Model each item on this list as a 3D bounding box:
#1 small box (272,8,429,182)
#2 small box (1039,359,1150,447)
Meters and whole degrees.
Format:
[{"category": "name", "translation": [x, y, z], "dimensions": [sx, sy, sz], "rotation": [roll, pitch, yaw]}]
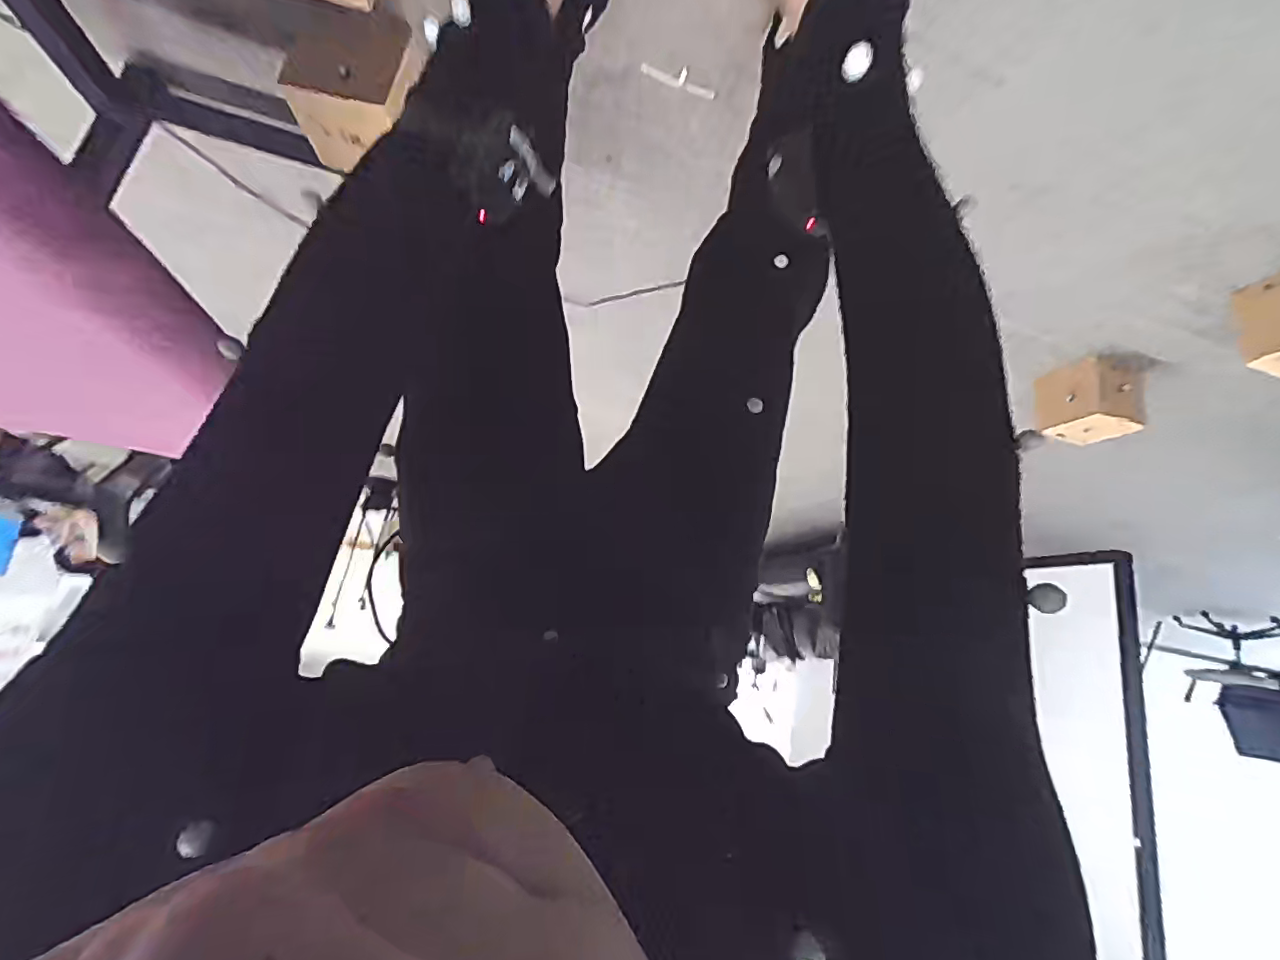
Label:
[{"category": "small box", "translation": [-0.482, -0.661, 0.935], "dimensions": [0.179, 0.176, 0.168], "rotation": [11, 164, -4]}, {"category": "small box", "translation": [1.235, -0.210, 1.483], "dimensions": [0.168, 0.176, 0.179], "rotation": [13, 164, -12]}]
